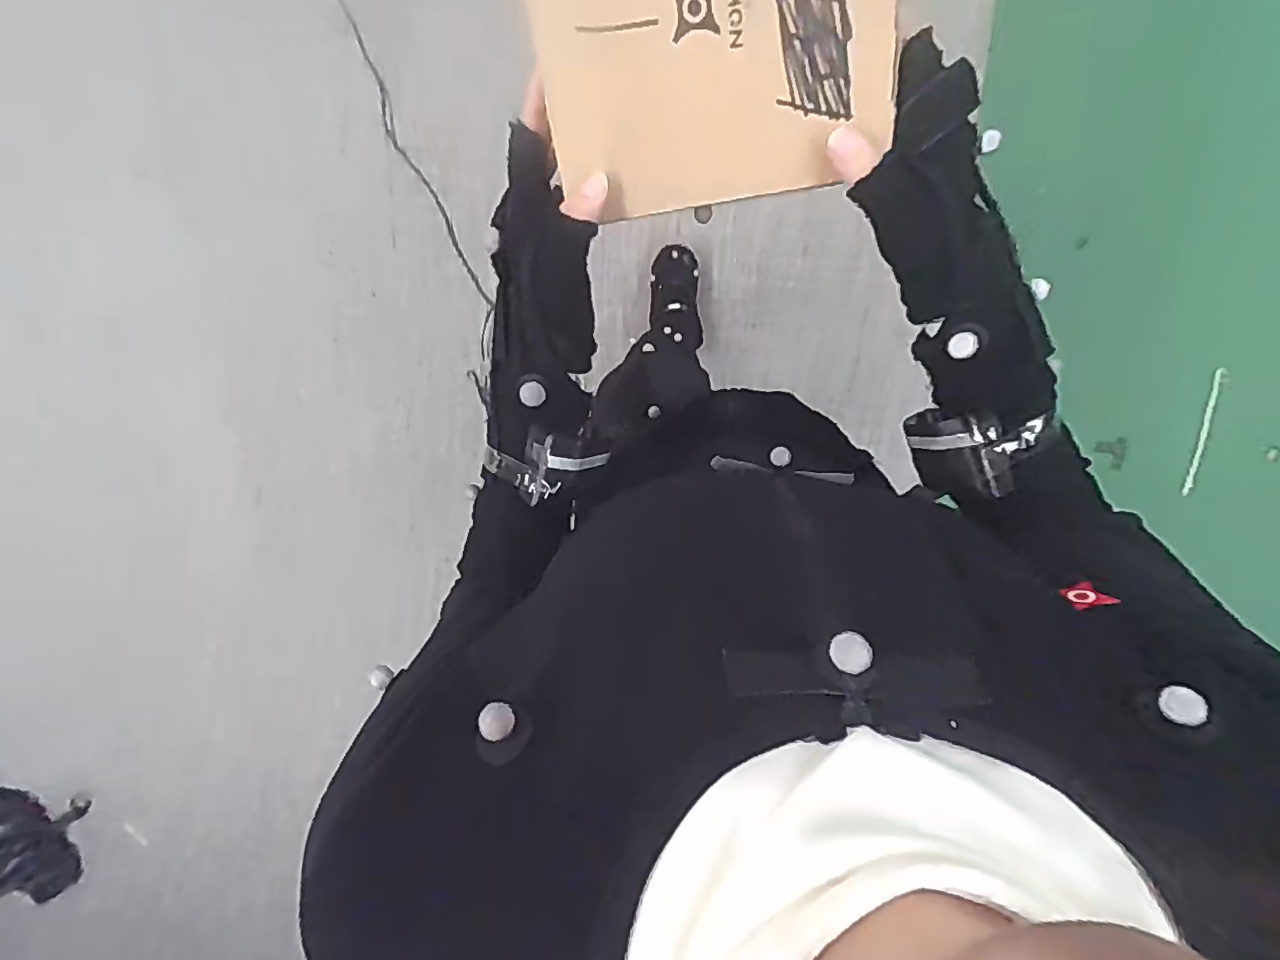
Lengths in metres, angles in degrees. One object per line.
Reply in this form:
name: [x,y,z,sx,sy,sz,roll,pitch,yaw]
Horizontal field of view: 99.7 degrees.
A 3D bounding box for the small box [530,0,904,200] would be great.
small box: [0.035,-0.274,0.315,0.179,0.176,0.168,-6,122,6]
